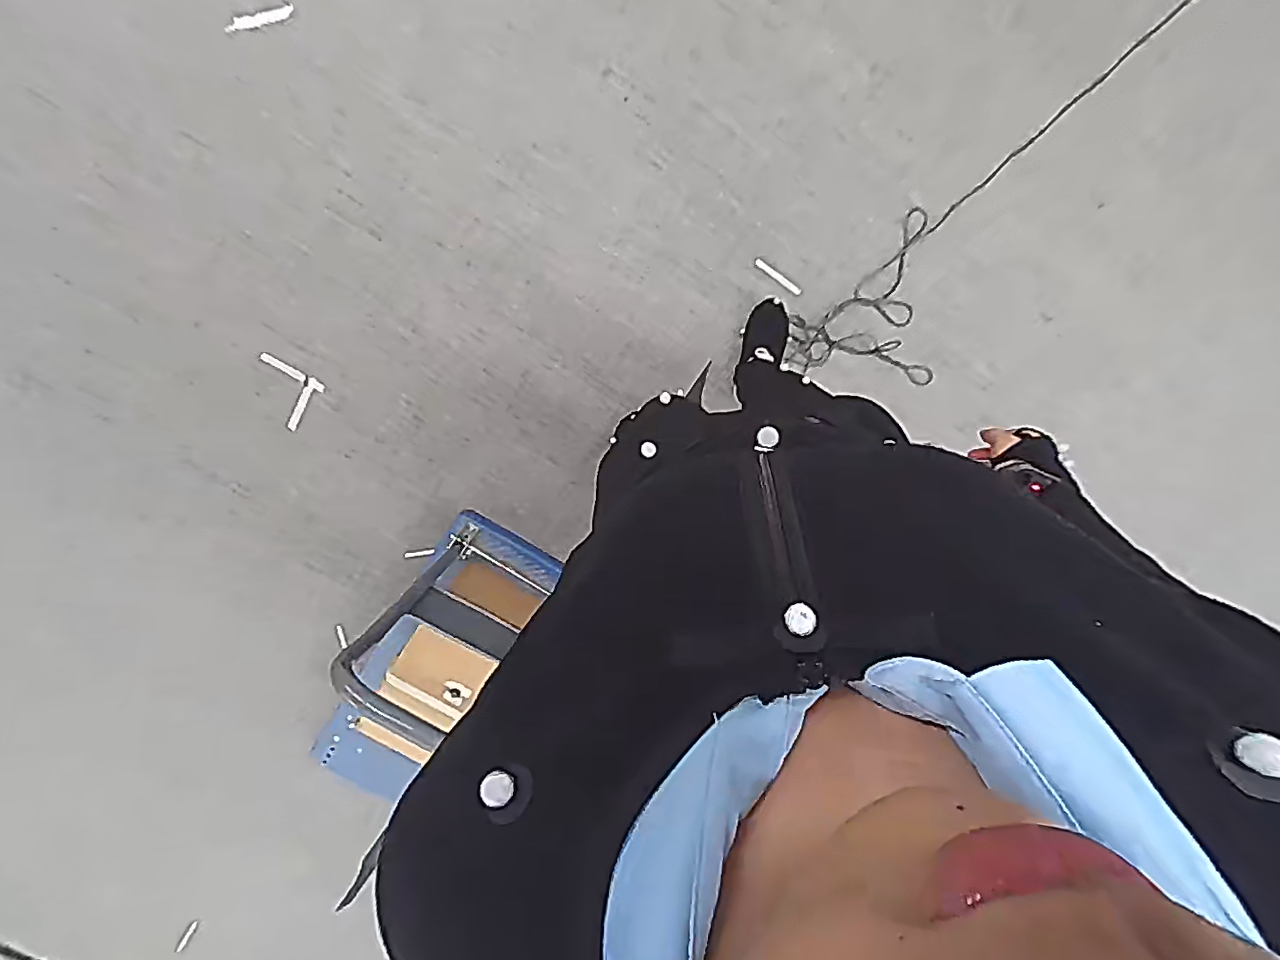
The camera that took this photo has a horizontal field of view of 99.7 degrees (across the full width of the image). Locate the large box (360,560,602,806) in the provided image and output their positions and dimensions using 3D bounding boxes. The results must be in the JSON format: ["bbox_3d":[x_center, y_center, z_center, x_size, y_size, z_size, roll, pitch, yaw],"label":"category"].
[{"bbox_3d":[-0.344,0.459,1.279,0.408,0.320,0.320,33,101,-7],"label":"large box"}]
